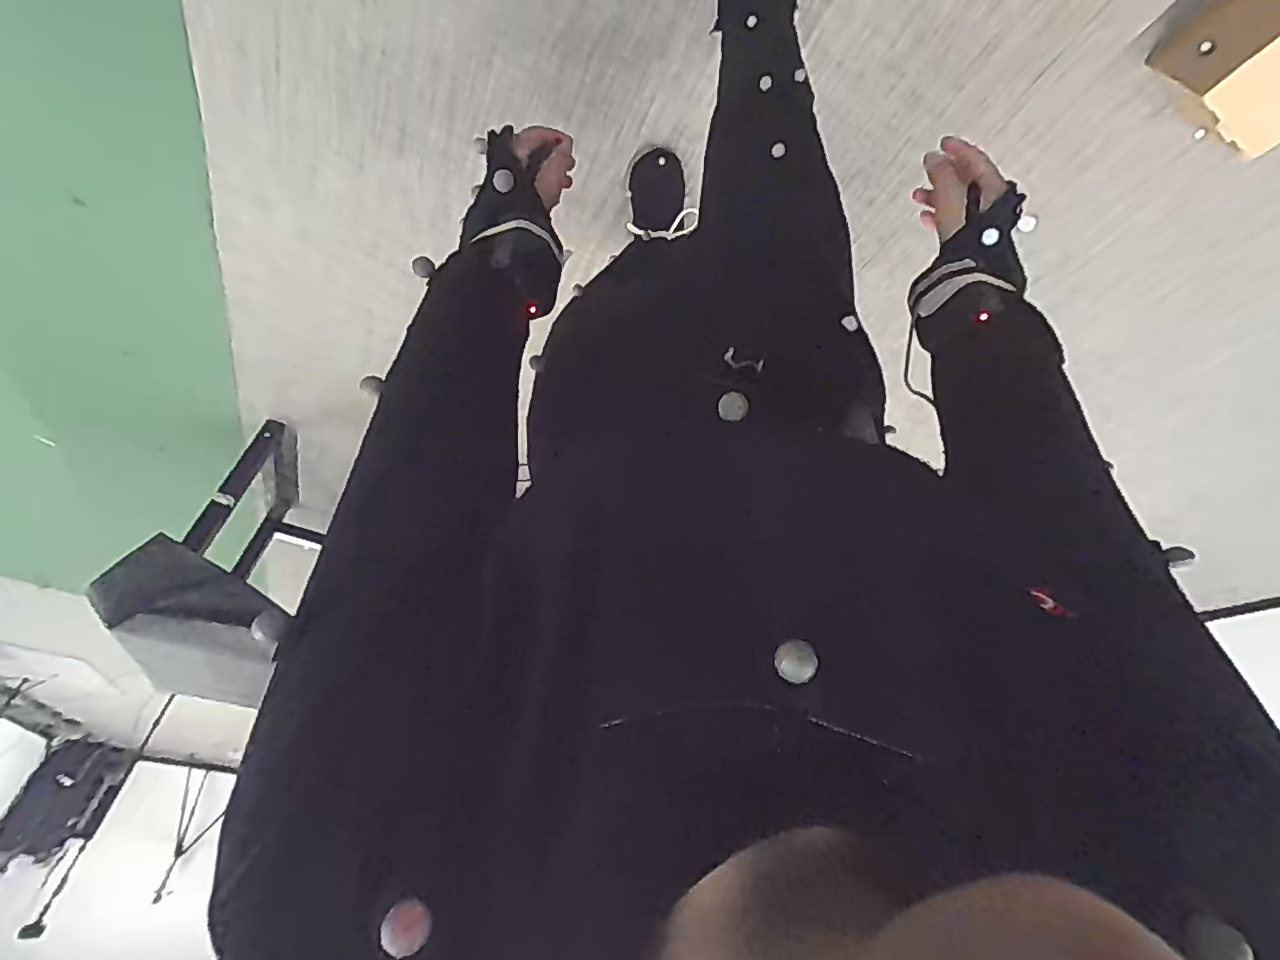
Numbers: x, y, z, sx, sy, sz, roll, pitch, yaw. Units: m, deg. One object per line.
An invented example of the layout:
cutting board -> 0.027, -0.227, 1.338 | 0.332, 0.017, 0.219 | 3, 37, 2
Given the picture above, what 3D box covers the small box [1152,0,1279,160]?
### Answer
small box -> 0.918, -0.629, 0.798 | 0.168, 0.176, 0.179 | 23, 138, -22
